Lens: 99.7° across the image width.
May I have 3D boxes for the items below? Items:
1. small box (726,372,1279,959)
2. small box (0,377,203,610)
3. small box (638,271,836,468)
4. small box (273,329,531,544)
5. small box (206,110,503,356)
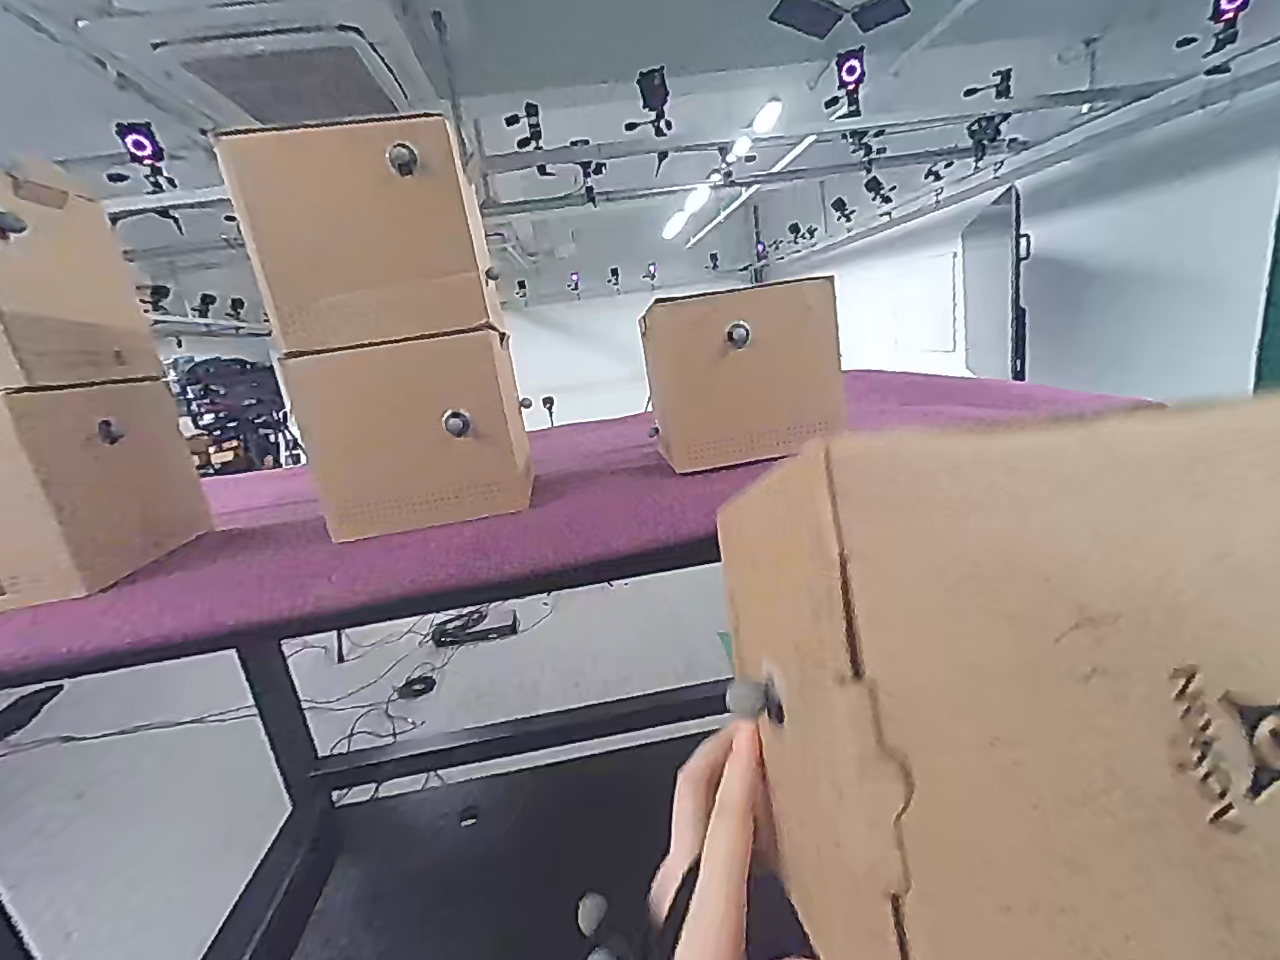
[{"bbox_3d":[0.133,0.068,0.206,0.179,0.168,0.176,-6,-8,-1],"label":"small box"},{"bbox_3d":[-0.544,0.010,0.481,0.168,0.176,0.179,-9,15,-7],"label":"small box"},{"bbox_3d":[0.101,-0.115,0.592,0.179,0.176,0.168,-10,13,-3],"label":"small box"},{"bbox_3d":[-0.212,-0.051,0.542,0.179,0.176,0.168,-11,14,-6],"label":"small box"},{"bbox_3d":[-0.238,-0.208,0.504,0.179,0.176,0.168,-10,14,-8],"label":"small box"}]
